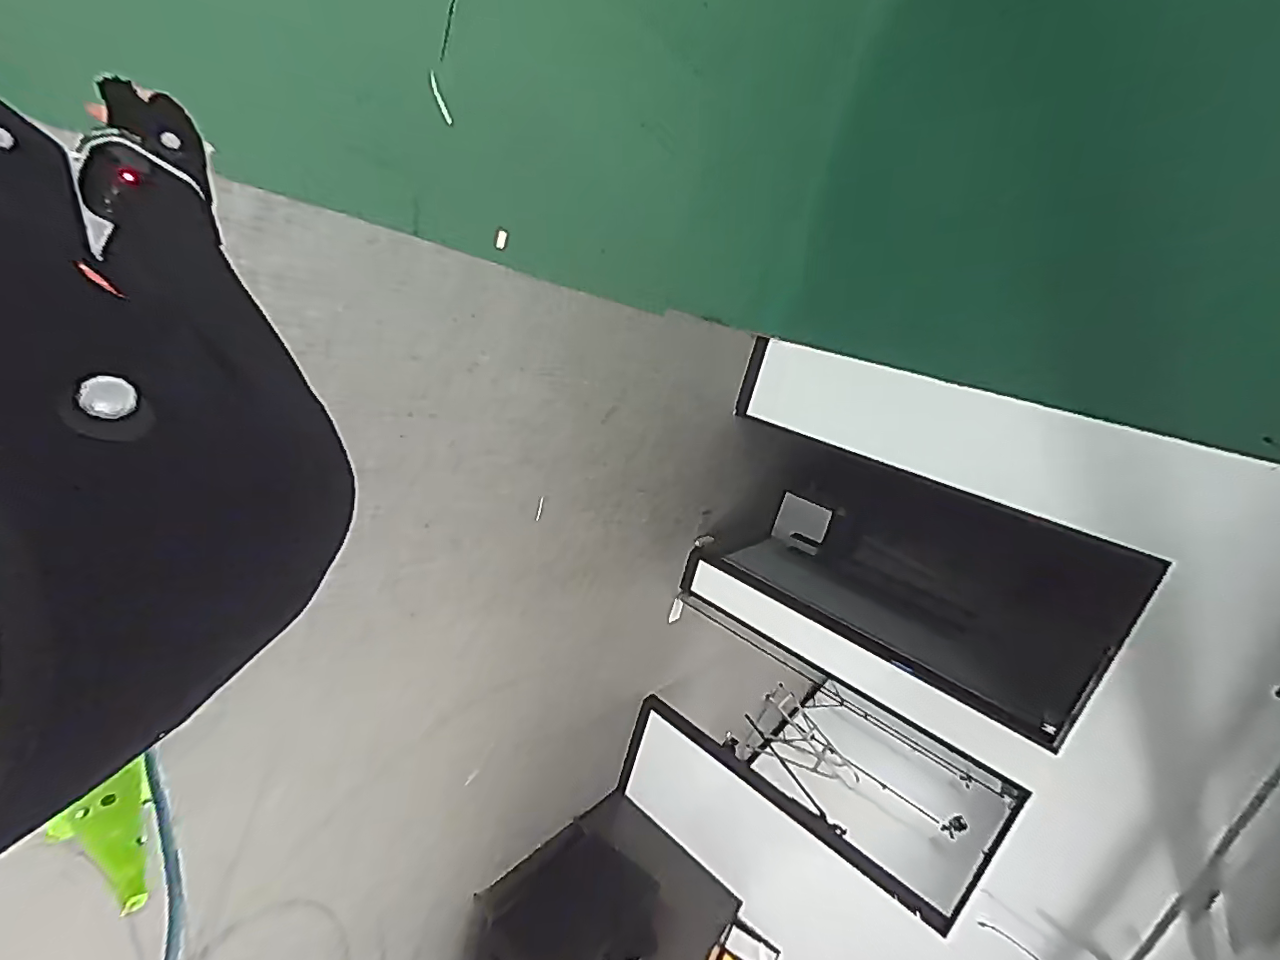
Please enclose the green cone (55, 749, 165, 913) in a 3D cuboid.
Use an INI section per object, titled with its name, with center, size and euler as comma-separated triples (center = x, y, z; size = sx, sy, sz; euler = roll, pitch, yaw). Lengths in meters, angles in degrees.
[green cone]
center = -1.229, 0.868, 1.294
size = 0.202, 0.368, 0.200
euler = -8, 117, -50
